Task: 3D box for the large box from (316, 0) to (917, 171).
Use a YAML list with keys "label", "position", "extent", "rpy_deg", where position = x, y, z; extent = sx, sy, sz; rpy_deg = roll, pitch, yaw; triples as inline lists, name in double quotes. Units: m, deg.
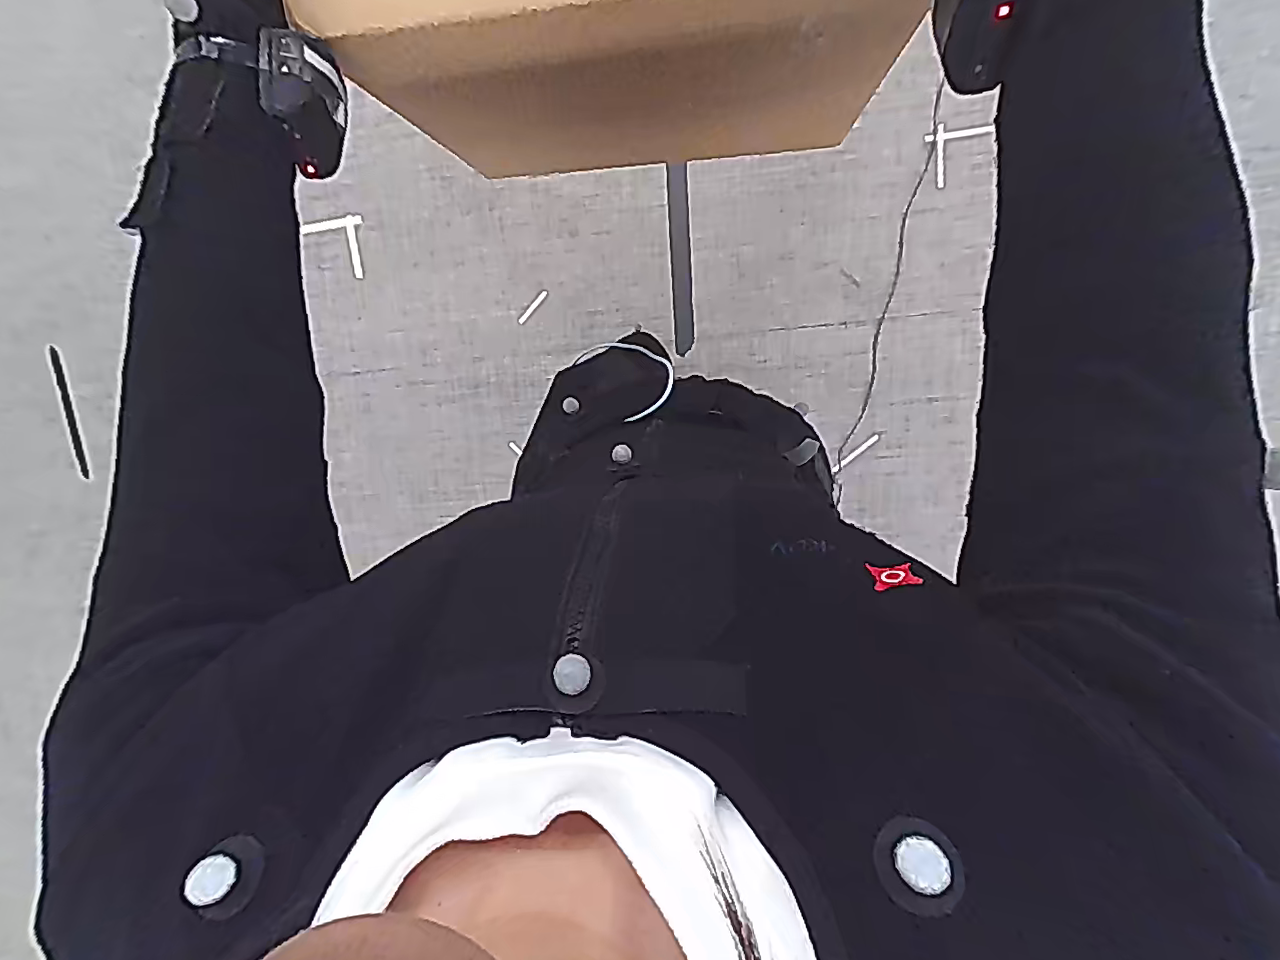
- label: "large box"
  position: [-0.007, -0.481, 0.434]
  extent: [0.408, 0.320, 0.320]
  rpy_deg: [-2, 105, 7]
